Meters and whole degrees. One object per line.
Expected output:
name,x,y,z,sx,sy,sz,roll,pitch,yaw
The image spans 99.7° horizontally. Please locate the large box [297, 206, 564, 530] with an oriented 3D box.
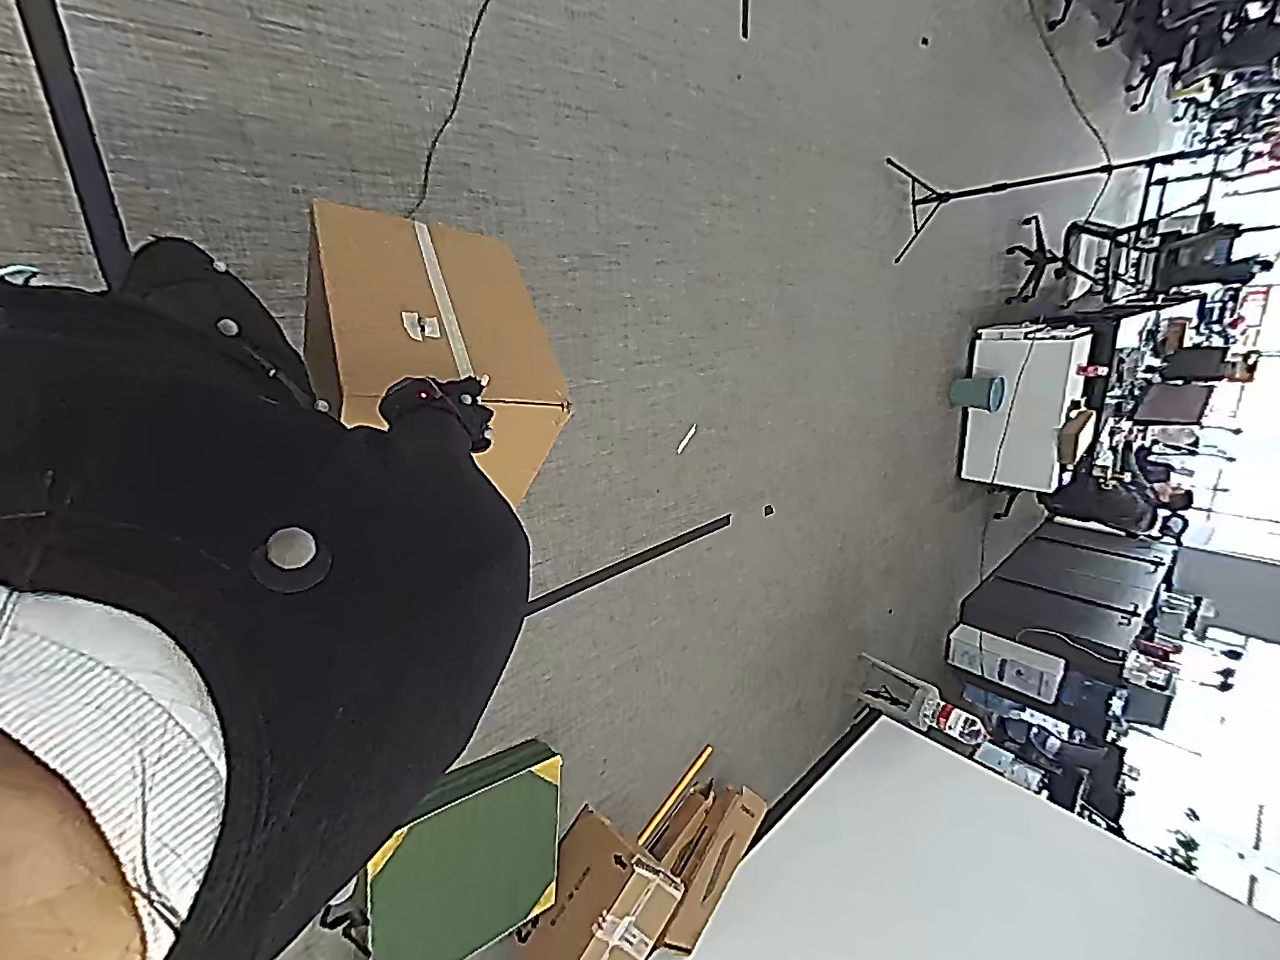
large box,-0.378,-0.172,0.913,0.320,0.408,0.320,-3,147,-35
